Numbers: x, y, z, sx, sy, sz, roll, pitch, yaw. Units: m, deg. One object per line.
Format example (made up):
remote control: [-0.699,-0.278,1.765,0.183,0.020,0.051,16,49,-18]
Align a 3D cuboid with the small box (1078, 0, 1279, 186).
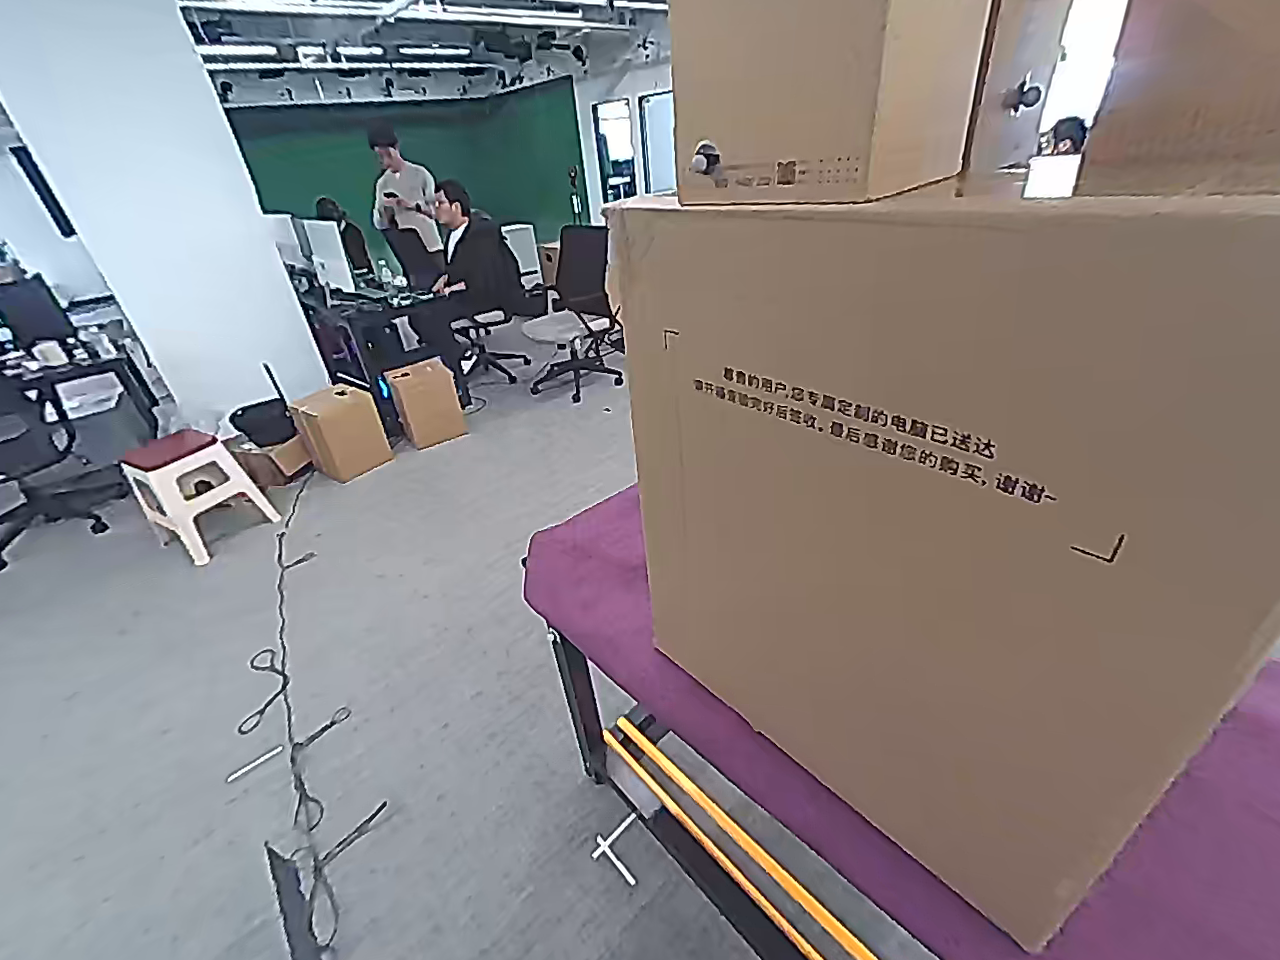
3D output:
small box: [0.447,-0.311,0.372,0.179,0.176,0.168,21,40,40]
